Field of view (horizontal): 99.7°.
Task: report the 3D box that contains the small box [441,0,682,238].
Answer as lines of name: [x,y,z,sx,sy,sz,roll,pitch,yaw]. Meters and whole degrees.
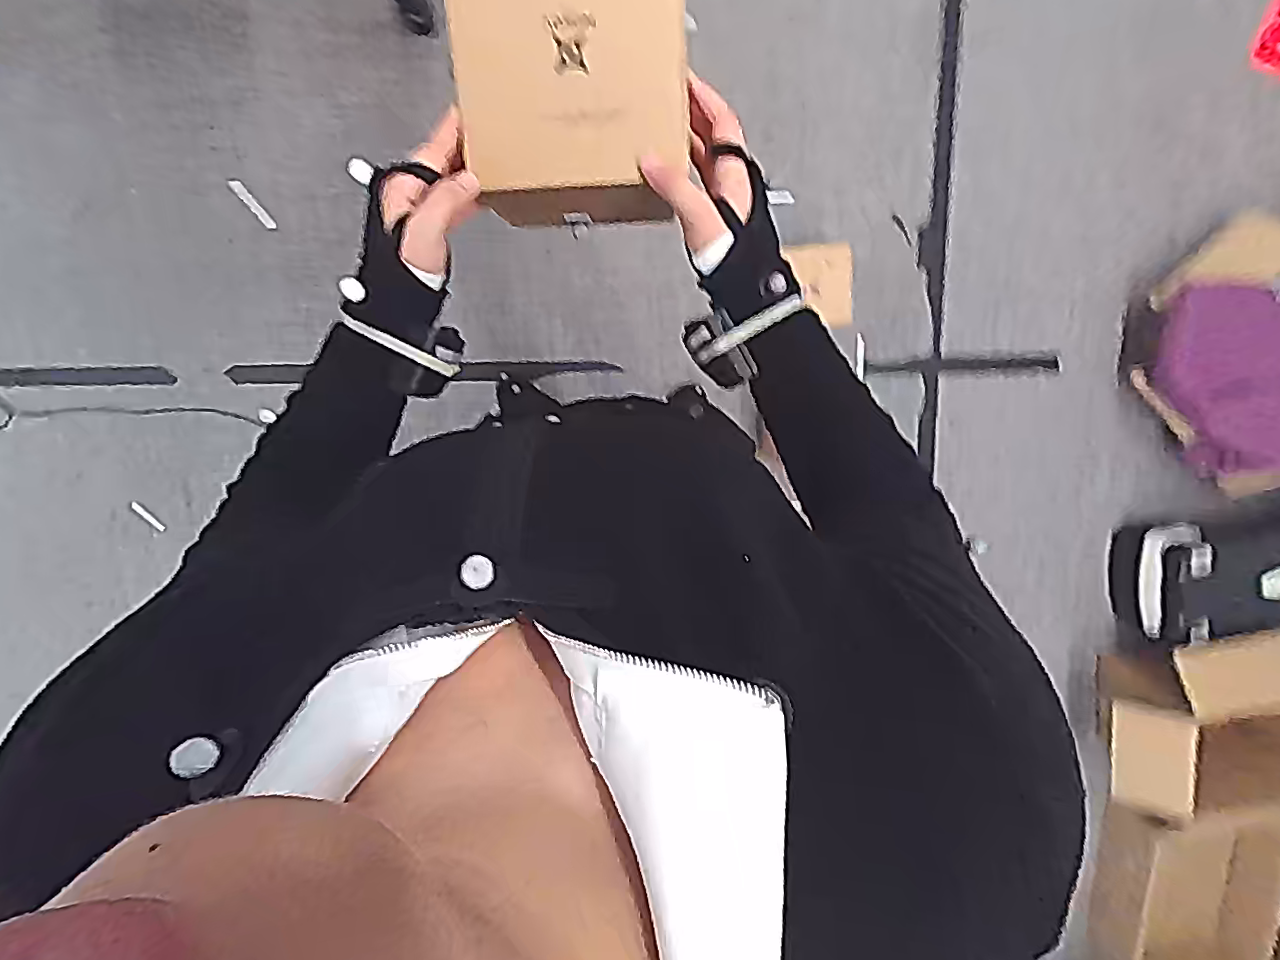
small box: [-0.055,-0.317,0.457,0.168,0.176,0.179,-3,105,1]

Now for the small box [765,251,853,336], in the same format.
small box: [0.406,-0.446,1.319,0.168,0.176,0.179,-4,102,0]

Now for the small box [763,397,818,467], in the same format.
small box: [0.420,-0.126,1.391,0.179,0.176,0.168,0,102,0]
